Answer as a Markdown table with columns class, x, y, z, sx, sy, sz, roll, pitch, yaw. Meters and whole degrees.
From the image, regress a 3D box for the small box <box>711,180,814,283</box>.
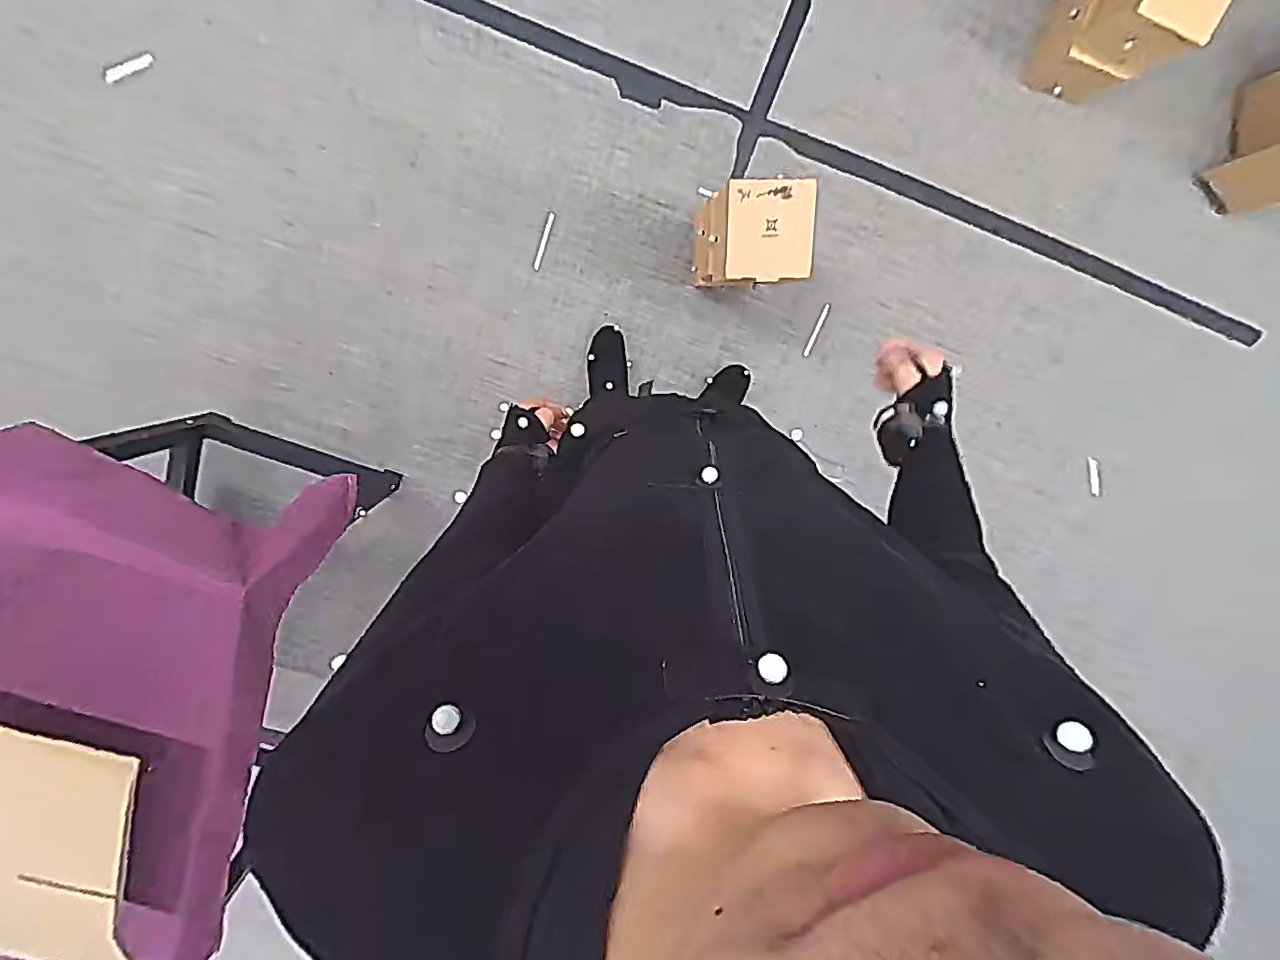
| class | x | y | z | sx | sy | sz | roll | pitch | yaw |
| --- | --- | --- | --- | --- | --- | --- | --- | --- | --- |
| small box | 0.239 | -0.496 | 1.100 | 0.168 | 0.176 | 0.179 | 0 | 108 | -2 |
